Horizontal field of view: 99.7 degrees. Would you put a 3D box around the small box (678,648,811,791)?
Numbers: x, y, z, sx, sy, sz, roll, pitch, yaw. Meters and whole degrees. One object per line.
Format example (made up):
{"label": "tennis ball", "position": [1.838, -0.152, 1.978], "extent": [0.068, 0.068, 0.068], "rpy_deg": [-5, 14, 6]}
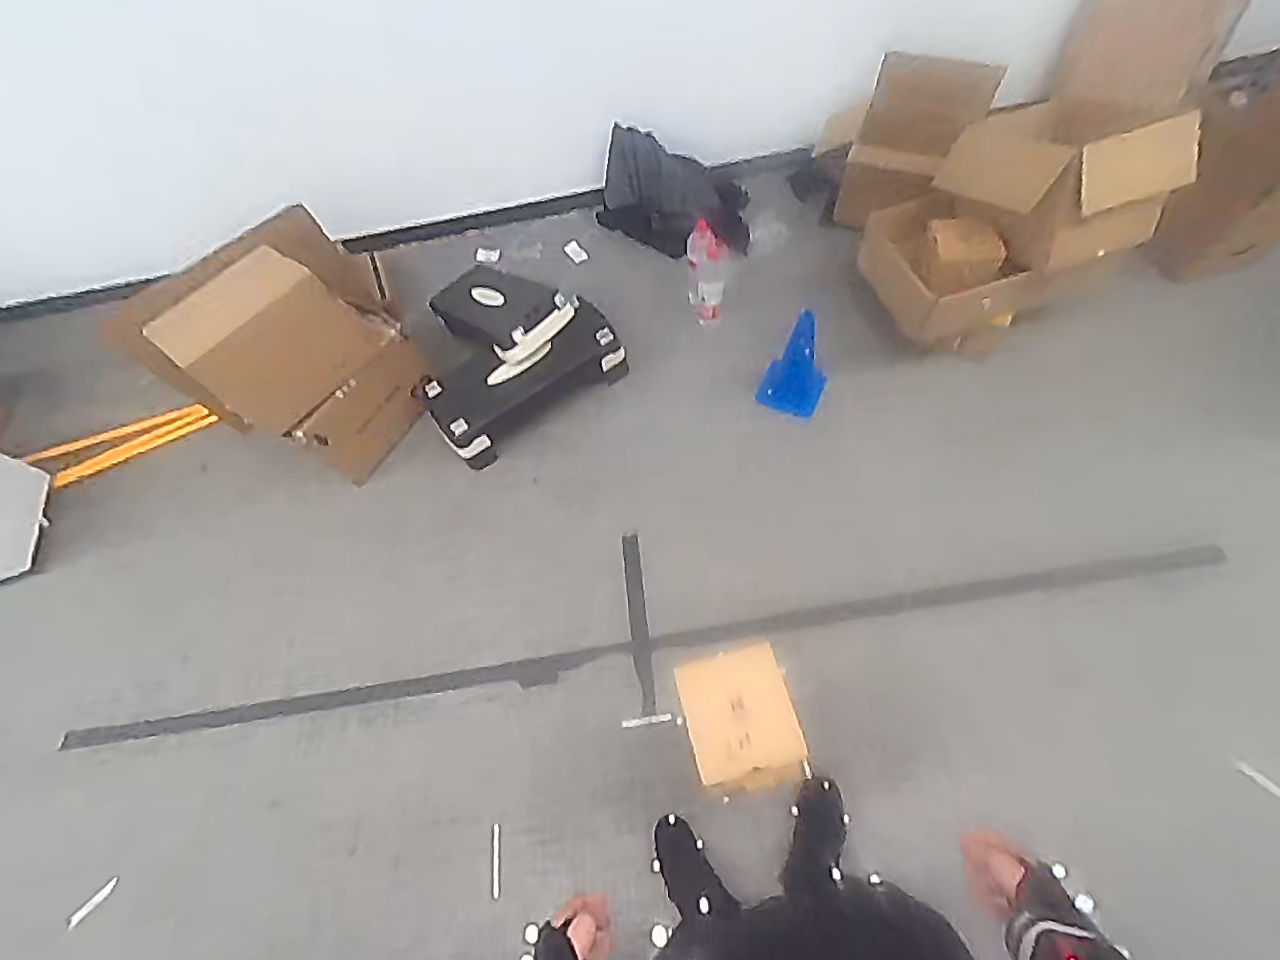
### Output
{"label": "small box", "position": [0.165, 0.402, 0.906], "extent": [0.168, 0.176, 0.179], "rpy_deg": [-15, 62, 0]}
